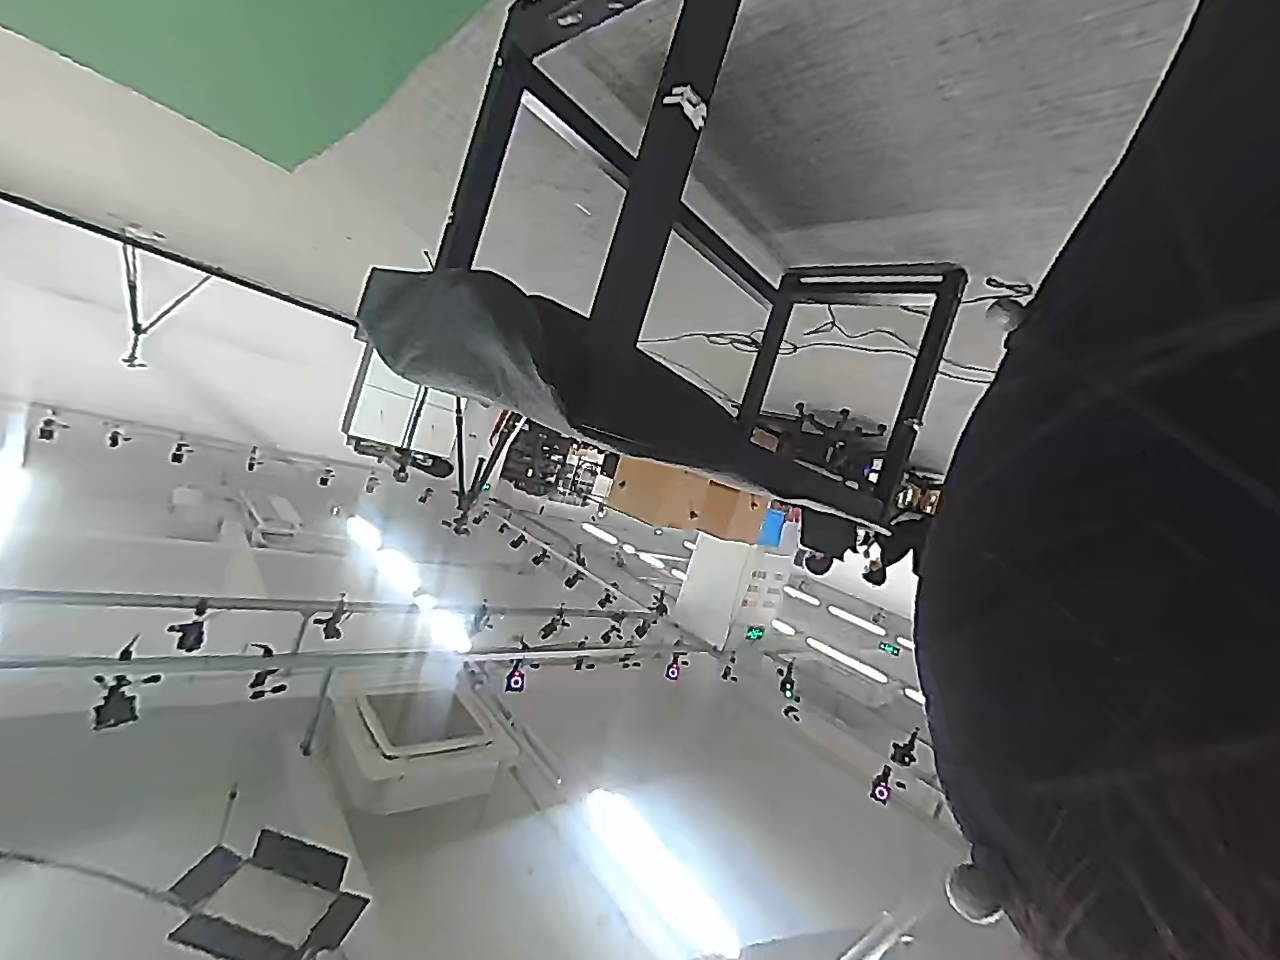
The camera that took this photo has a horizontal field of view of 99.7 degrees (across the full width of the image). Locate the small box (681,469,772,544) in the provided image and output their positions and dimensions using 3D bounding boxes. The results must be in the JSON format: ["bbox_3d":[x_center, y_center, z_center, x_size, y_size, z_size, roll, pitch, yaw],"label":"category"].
[{"bbox_3d":[0.252,0.073,1.564,0.179,0.176,0.168,19,-177,44],"label":"small box"}]
